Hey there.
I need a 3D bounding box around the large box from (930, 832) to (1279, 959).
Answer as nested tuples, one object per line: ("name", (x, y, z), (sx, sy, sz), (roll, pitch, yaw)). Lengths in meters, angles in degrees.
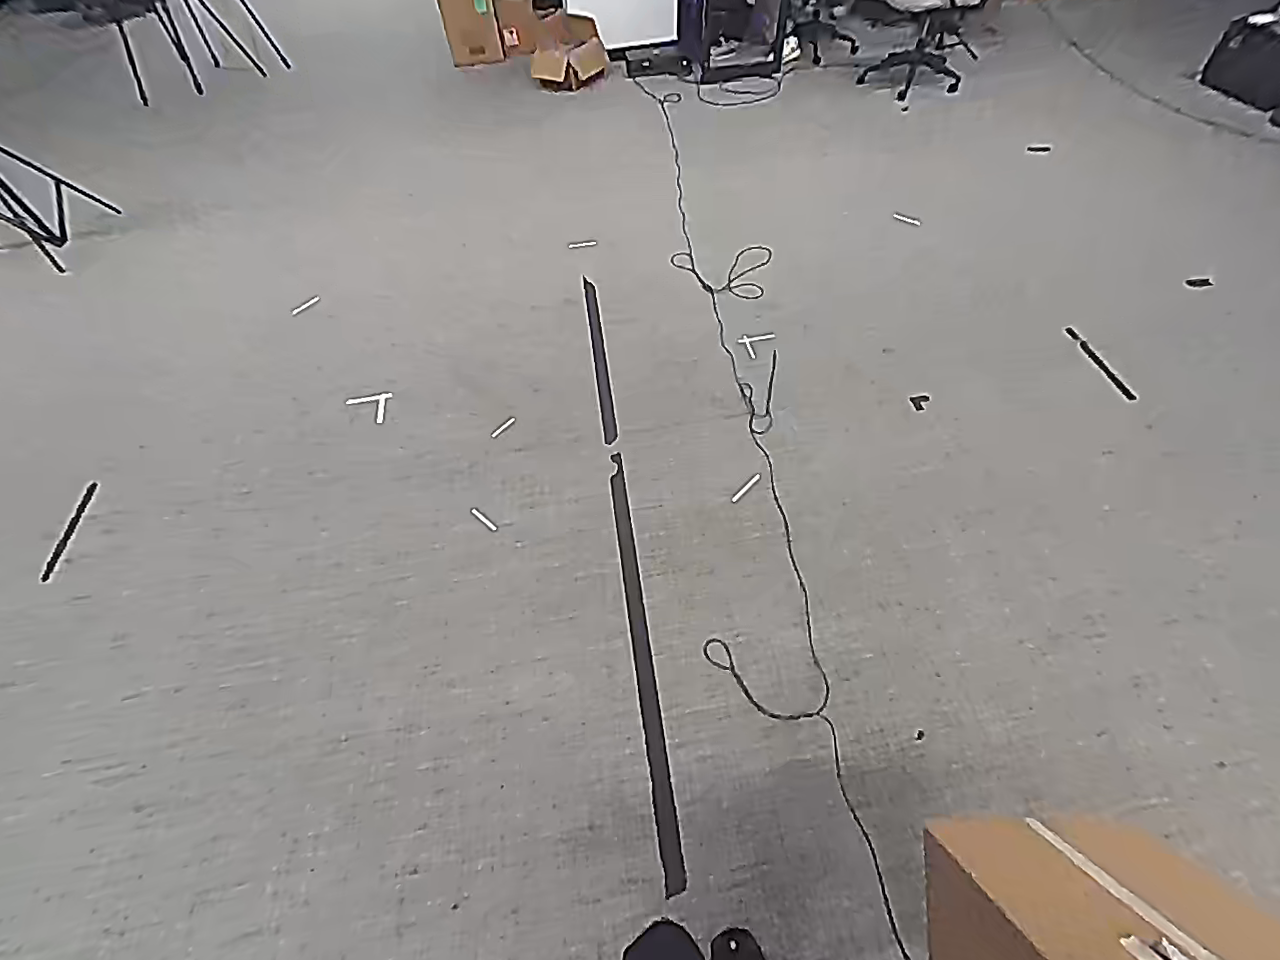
("large box", (0.581, 0.671, 0.605), (0.320, 0.408, 0.320), (0, 86, 0))
